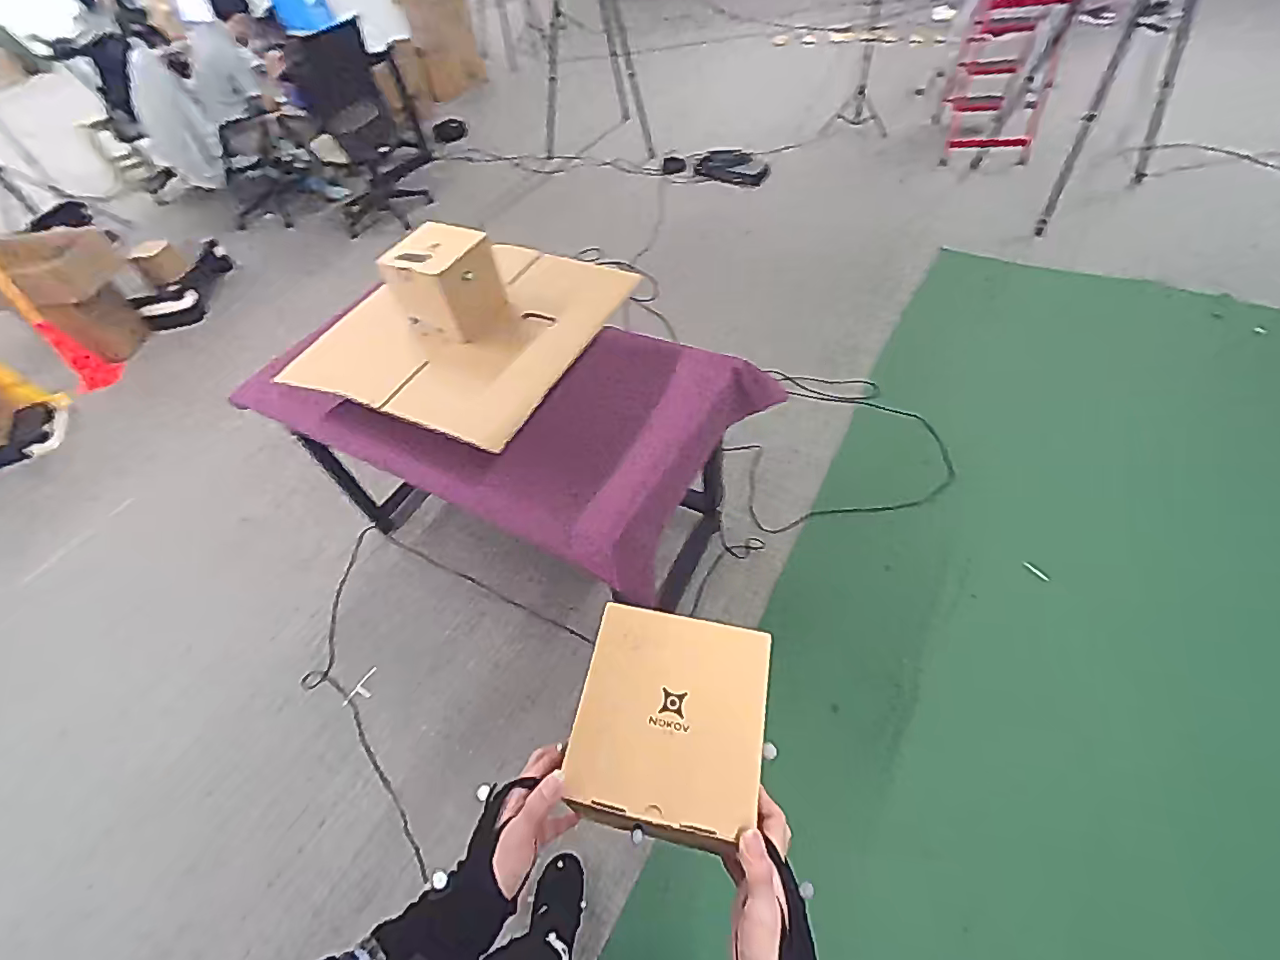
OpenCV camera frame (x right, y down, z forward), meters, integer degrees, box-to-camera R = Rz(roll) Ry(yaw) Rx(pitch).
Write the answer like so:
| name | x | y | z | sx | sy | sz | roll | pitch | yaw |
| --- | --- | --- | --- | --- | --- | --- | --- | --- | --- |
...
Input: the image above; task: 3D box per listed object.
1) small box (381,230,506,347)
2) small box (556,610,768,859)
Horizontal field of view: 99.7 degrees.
| name | x | y | z | sx | sy | sz | roll | pitch | yaw |
| --- | --- | --- | --- | --- | --- | --- | --- | --- | --- |
| small box | -0.423 | -0.423 | 1.202 | 0.168 | 0.176 | 0.179 | 19 | 56 | 19 |
| small box | 0.026 | 0.257 | 0.542 | 0.168 | 0.176 | 0.179 | 8 | 54 | 7 |
